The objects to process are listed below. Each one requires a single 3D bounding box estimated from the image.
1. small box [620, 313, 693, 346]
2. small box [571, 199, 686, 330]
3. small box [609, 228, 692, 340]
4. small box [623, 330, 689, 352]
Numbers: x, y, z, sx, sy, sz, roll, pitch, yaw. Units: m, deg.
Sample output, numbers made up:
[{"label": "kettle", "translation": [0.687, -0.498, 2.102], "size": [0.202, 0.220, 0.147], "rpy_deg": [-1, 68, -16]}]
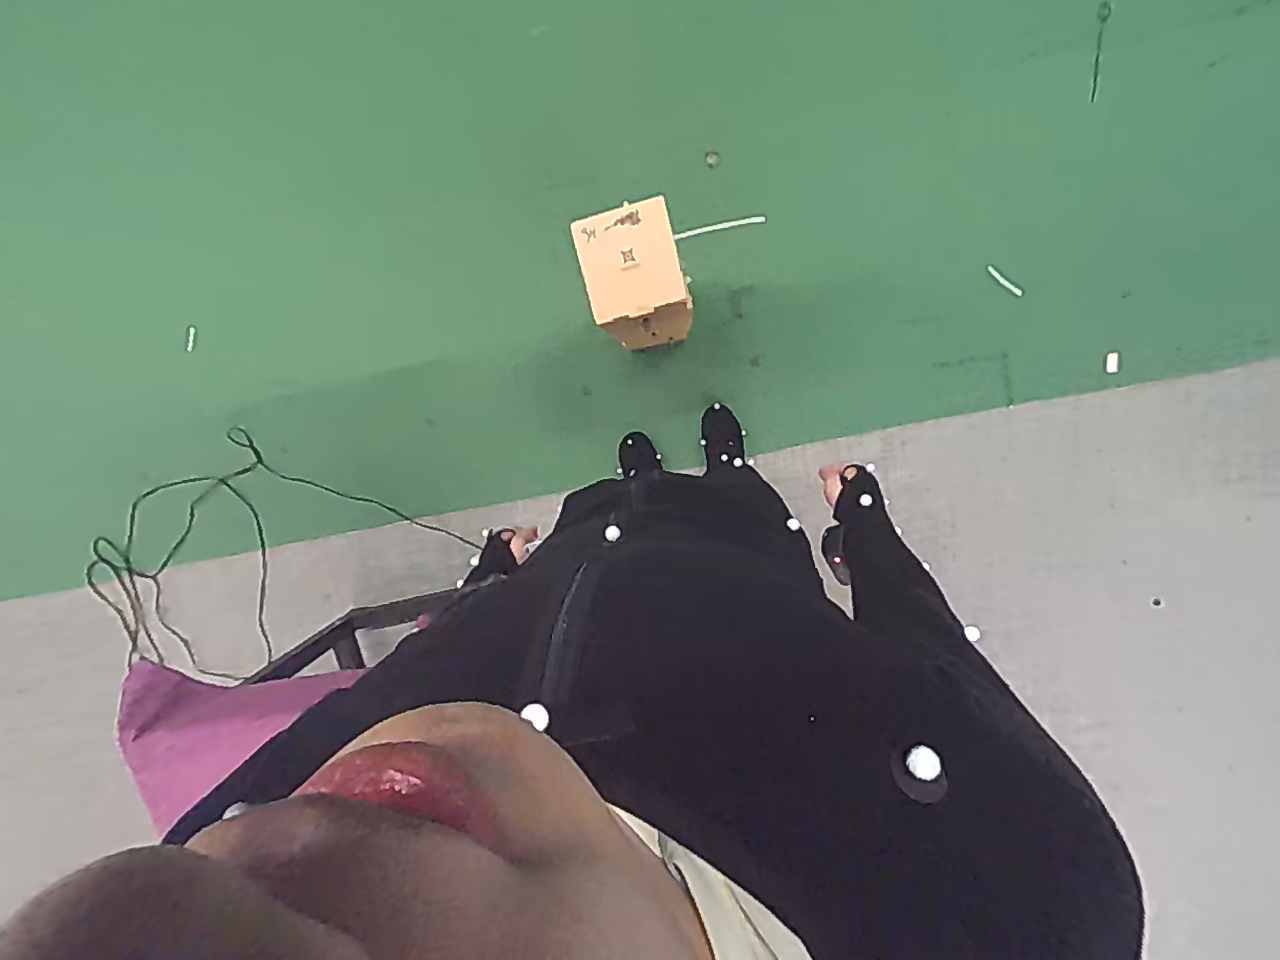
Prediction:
[{"label": "small box", "translation": [0.026, -0.431, 1.314], "size": [0.179, 0.176, 0.168], "rpy_deg": [-13, 99, 8]}, {"label": "small box", "translation": [-0.011, -0.380, 0.991], "size": [0.168, 0.176, 0.179], "rpy_deg": [-13, 99, 7]}, {"label": "small box", "translation": [0.009, -0.406, 1.152], "size": [0.179, 0.176, 0.168], "rpy_deg": [-15, 98, 6]}, {"label": "small box", "translation": [0.032, -0.452, 1.474], "size": [0.179, 0.176, 0.168], "rpy_deg": [-11, 98, 6]}]
